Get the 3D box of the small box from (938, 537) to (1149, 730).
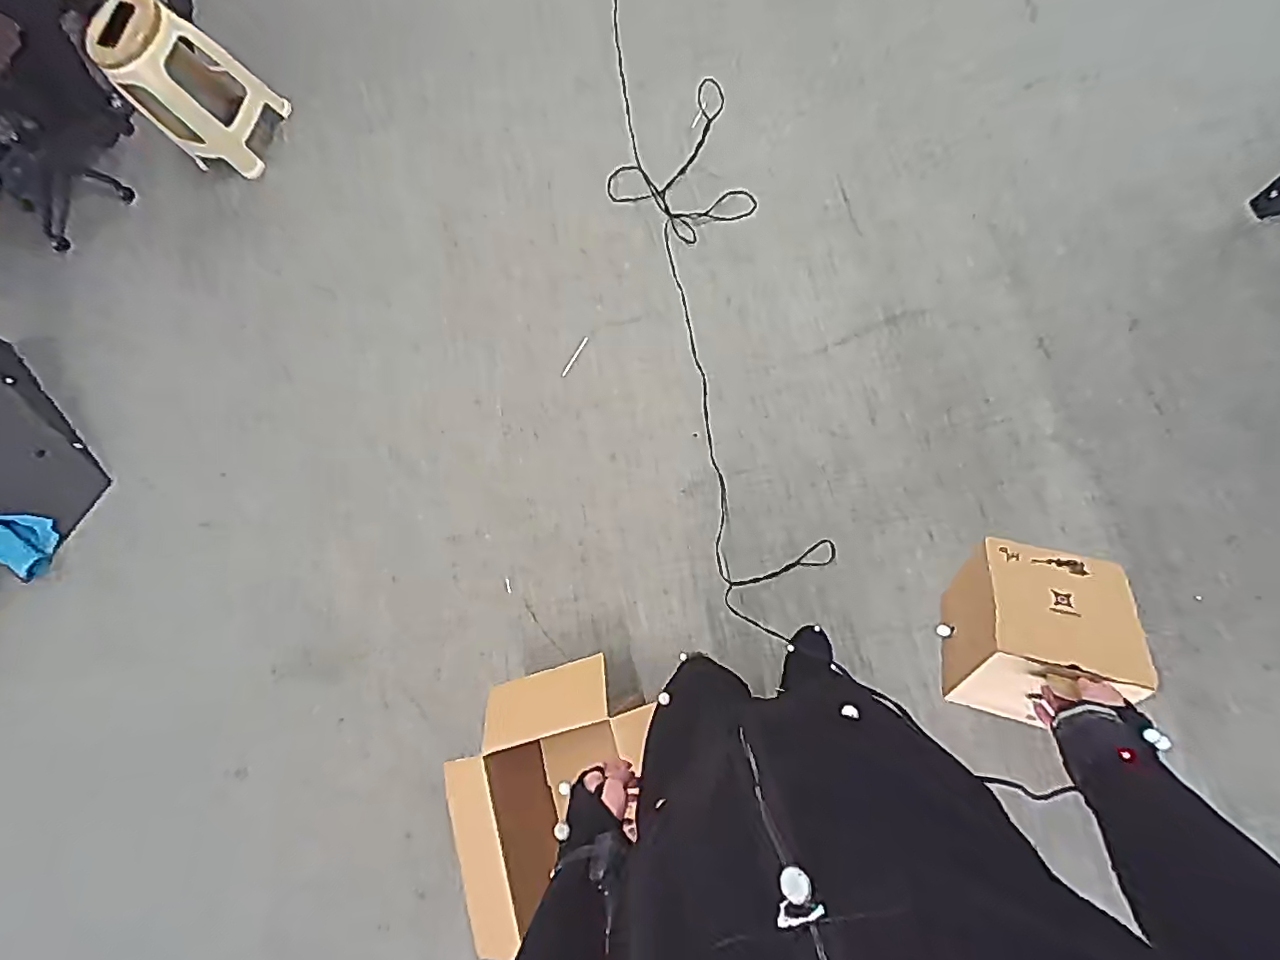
[{"bbox_3d":[0.520,0.210,0.729,0.168,0.176,0.179,13,51,14],"label":"small box"}]
